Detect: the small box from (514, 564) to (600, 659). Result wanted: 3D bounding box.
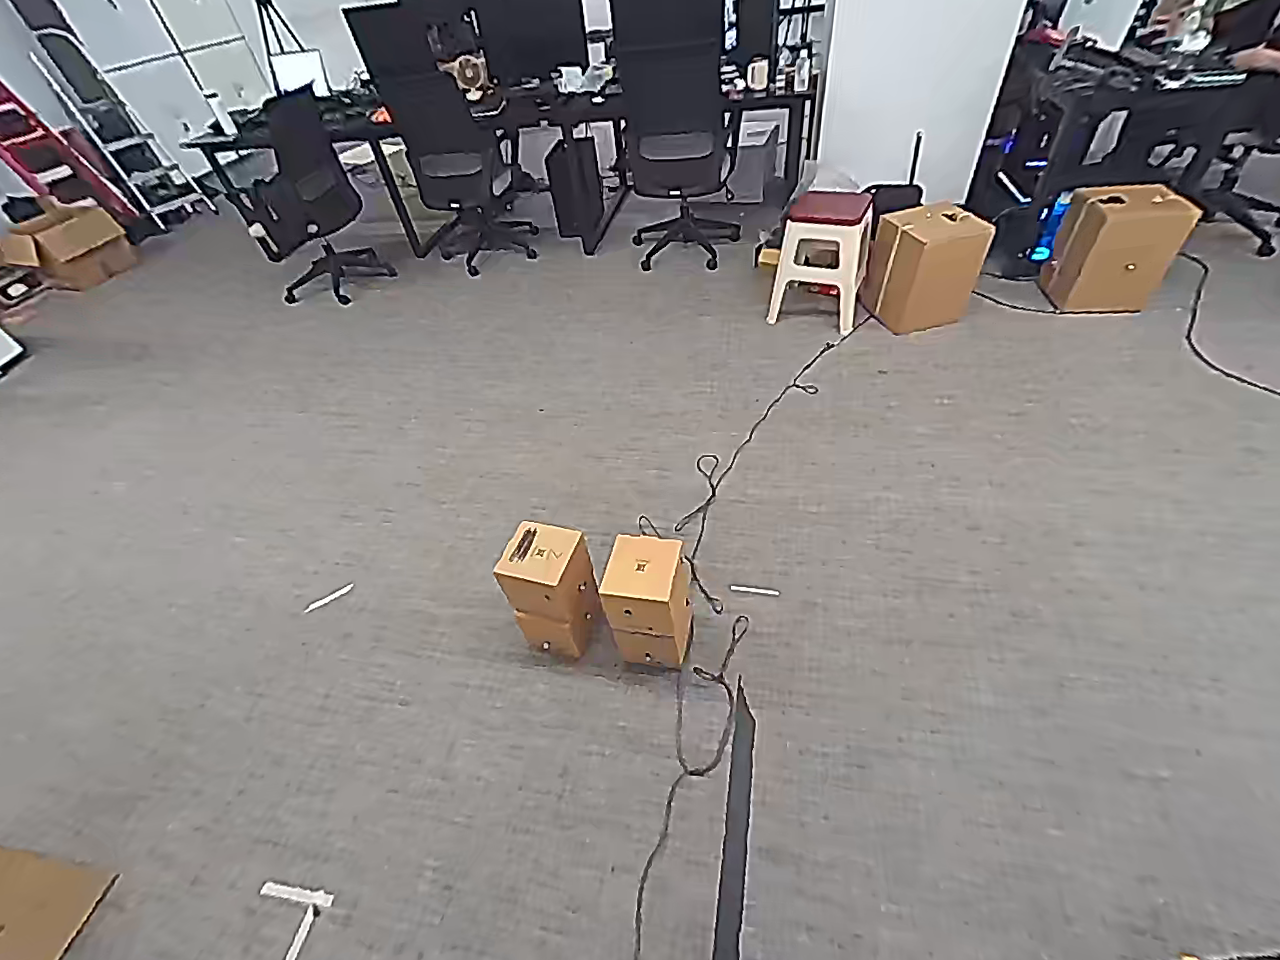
[{"bbox_3d":[-0.218,0.361,1.486,0.168,0.176,0.179,9,49,18],"label":"small box"}]

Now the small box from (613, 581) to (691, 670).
[{"bbox_3d":[0.041,0.375,1.428,0.168,0.176,0.179,4,47,15],"label":"small box"}]

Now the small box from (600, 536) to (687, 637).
[{"bbox_3d":[0.017,0.261,1.315,0.168,0.176,0.179,4,46,15],"label":"small box"}]
